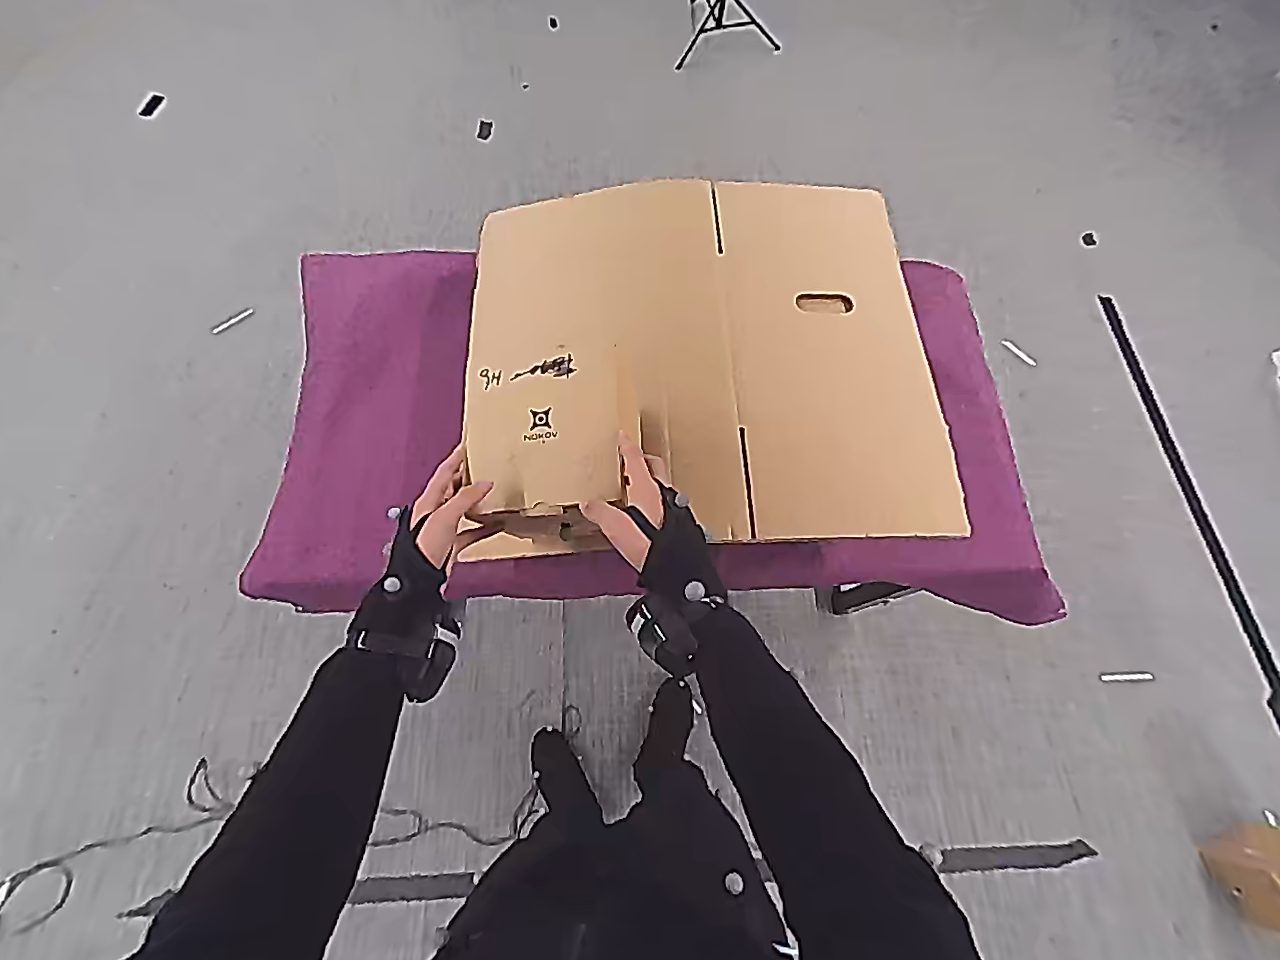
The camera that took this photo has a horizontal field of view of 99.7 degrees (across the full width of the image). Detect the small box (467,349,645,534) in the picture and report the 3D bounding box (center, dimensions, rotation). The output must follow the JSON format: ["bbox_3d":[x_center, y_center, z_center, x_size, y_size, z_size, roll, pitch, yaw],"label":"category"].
[{"bbox_3d":[-0.088,-0.031,0.638,0.168,0.176,0.179,-5,76,7],"label":"small box"}]
